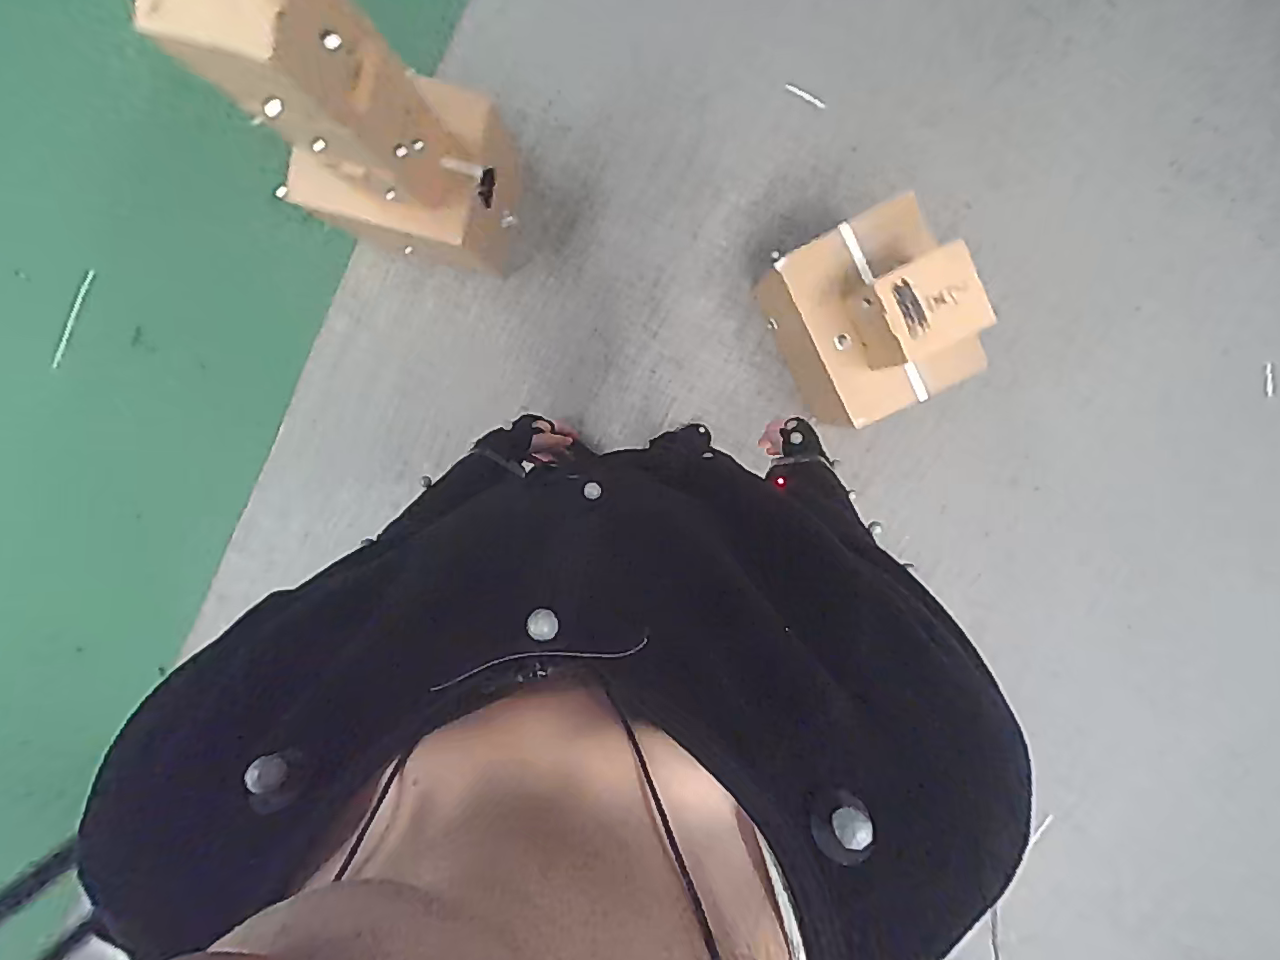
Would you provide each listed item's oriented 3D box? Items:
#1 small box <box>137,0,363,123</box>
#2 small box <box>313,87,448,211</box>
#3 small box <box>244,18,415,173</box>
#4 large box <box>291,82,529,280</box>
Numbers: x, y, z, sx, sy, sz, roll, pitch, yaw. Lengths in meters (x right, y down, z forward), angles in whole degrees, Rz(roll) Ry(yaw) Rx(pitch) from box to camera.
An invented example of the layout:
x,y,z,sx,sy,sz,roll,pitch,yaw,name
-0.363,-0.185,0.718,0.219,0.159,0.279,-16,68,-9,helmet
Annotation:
x,y,z,sx,sy,sz,roll,pitch,yaw,name
-0.509,-0.622,0.731,0.179,0.176,0.168,15,97,-1,small box
-0.497,-0.657,1.057,0.168,0.176,0.179,16,97,0,small box
-0.500,-0.639,0.895,0.179,0.176,0.168,15,98,1,small box
-0.522,-0.710,1.298,0.408,0.320,0.320,15,96,2,large box
